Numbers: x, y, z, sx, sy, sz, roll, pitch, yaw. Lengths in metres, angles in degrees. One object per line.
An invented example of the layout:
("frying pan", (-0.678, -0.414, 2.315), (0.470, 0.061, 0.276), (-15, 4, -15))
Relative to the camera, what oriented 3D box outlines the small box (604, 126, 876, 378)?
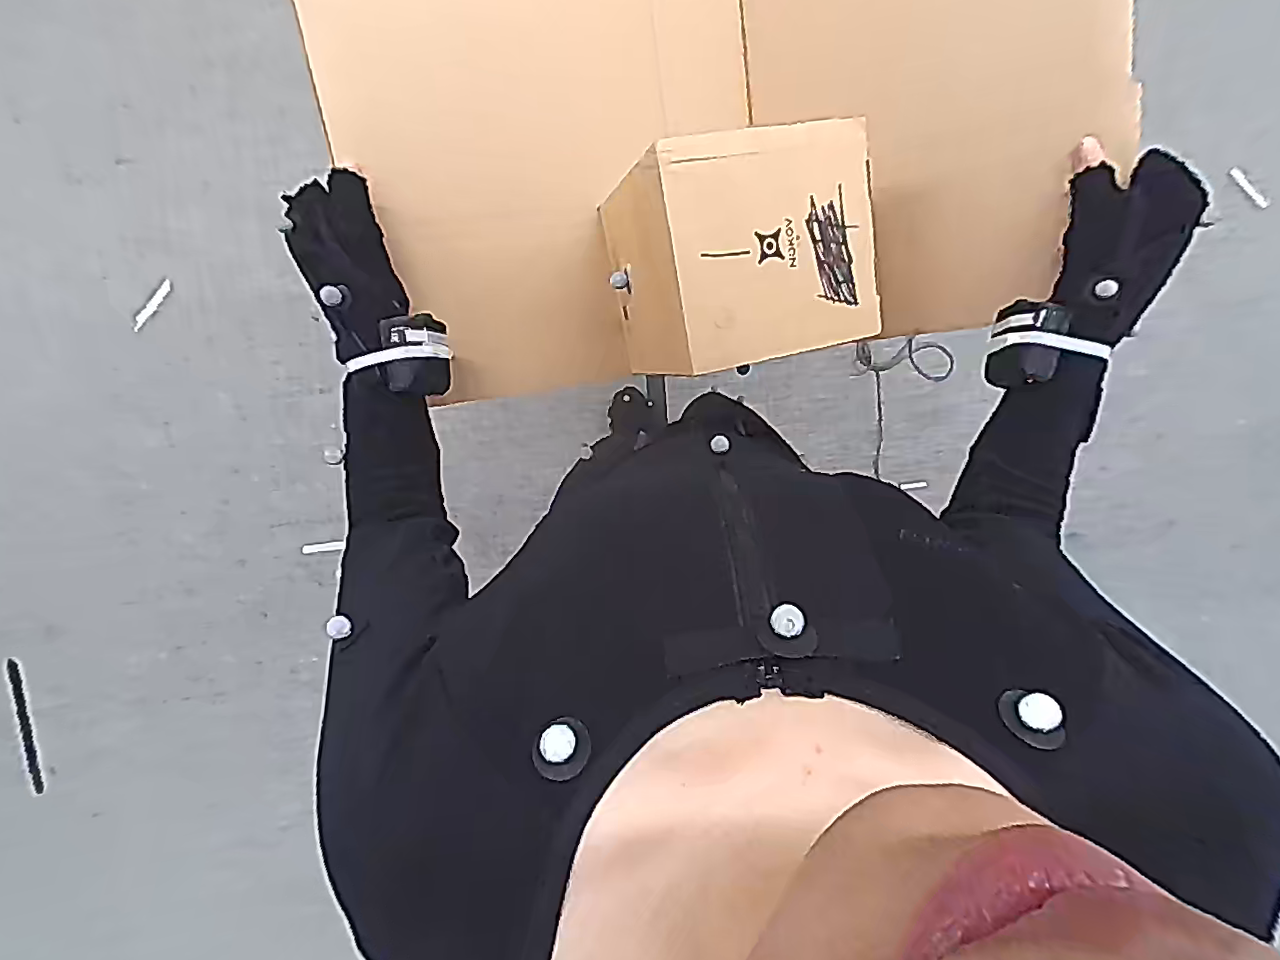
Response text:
("small box", (0.082, -0.193, 0.491), (0.179, 0.176, 0.168), (-15, 105, -13))
